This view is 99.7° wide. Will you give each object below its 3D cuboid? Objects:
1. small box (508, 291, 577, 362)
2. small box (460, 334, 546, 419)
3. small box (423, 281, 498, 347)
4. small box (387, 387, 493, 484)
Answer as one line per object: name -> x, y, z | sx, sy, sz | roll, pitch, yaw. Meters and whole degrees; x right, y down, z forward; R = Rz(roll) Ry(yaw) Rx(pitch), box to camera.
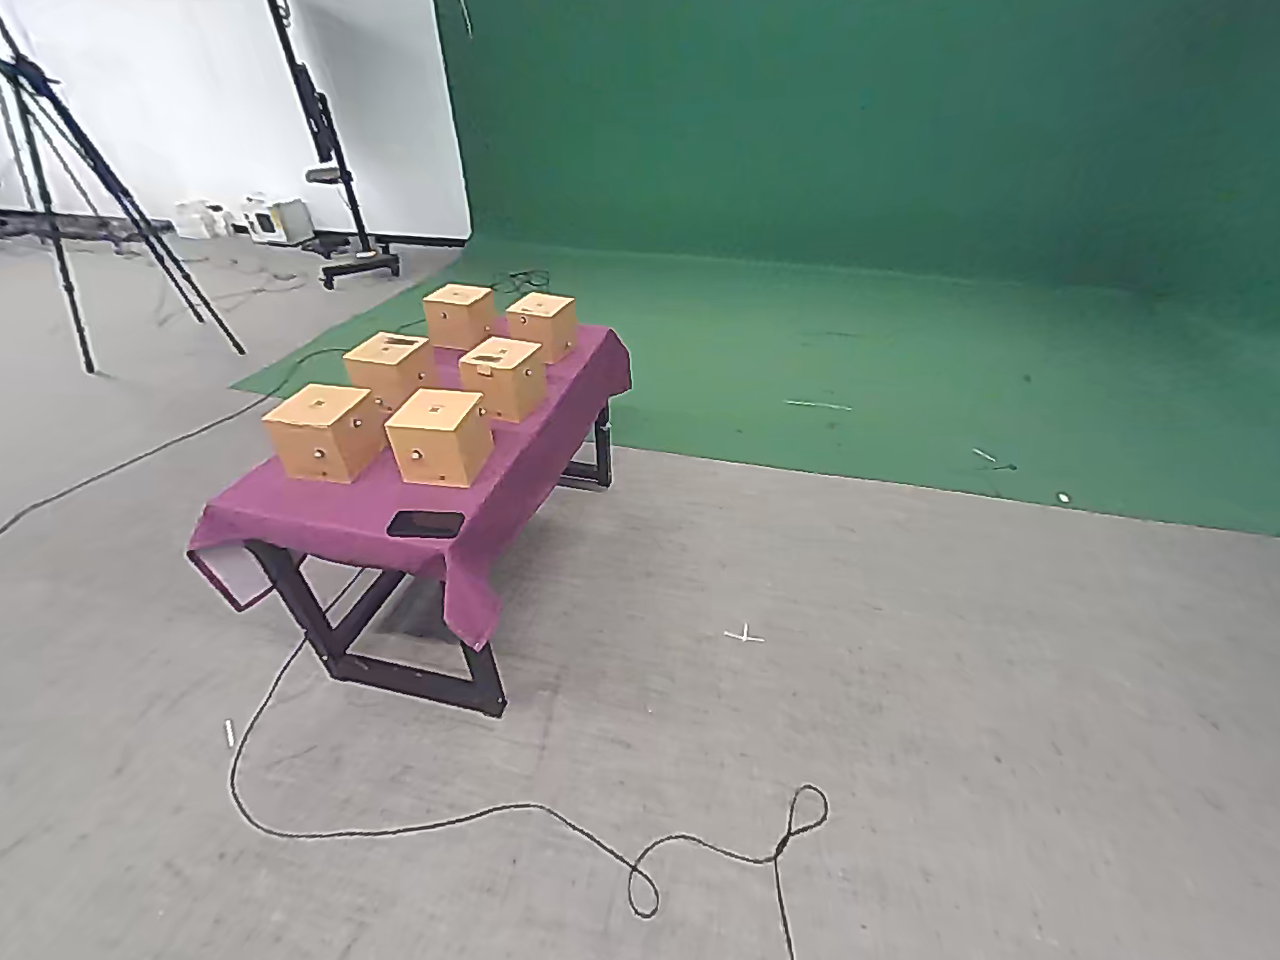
small box -> -0.322, -0.521, 1.826 | 0.168, 0.176, 0.179 | 13, 40, 16
small box -> -0.379, -0.294, 1.539 | 0.168, 0.176, 0.179 | 13, 39, 15
small box -> -0.622, -0.581, 1.897 | 0.179, 0.176, 0.168 | 12, 40, 13
small box -> -0.469, -0.108, 1.303 | 0.168, 0.176, 0.179 | 5, 37, 6
